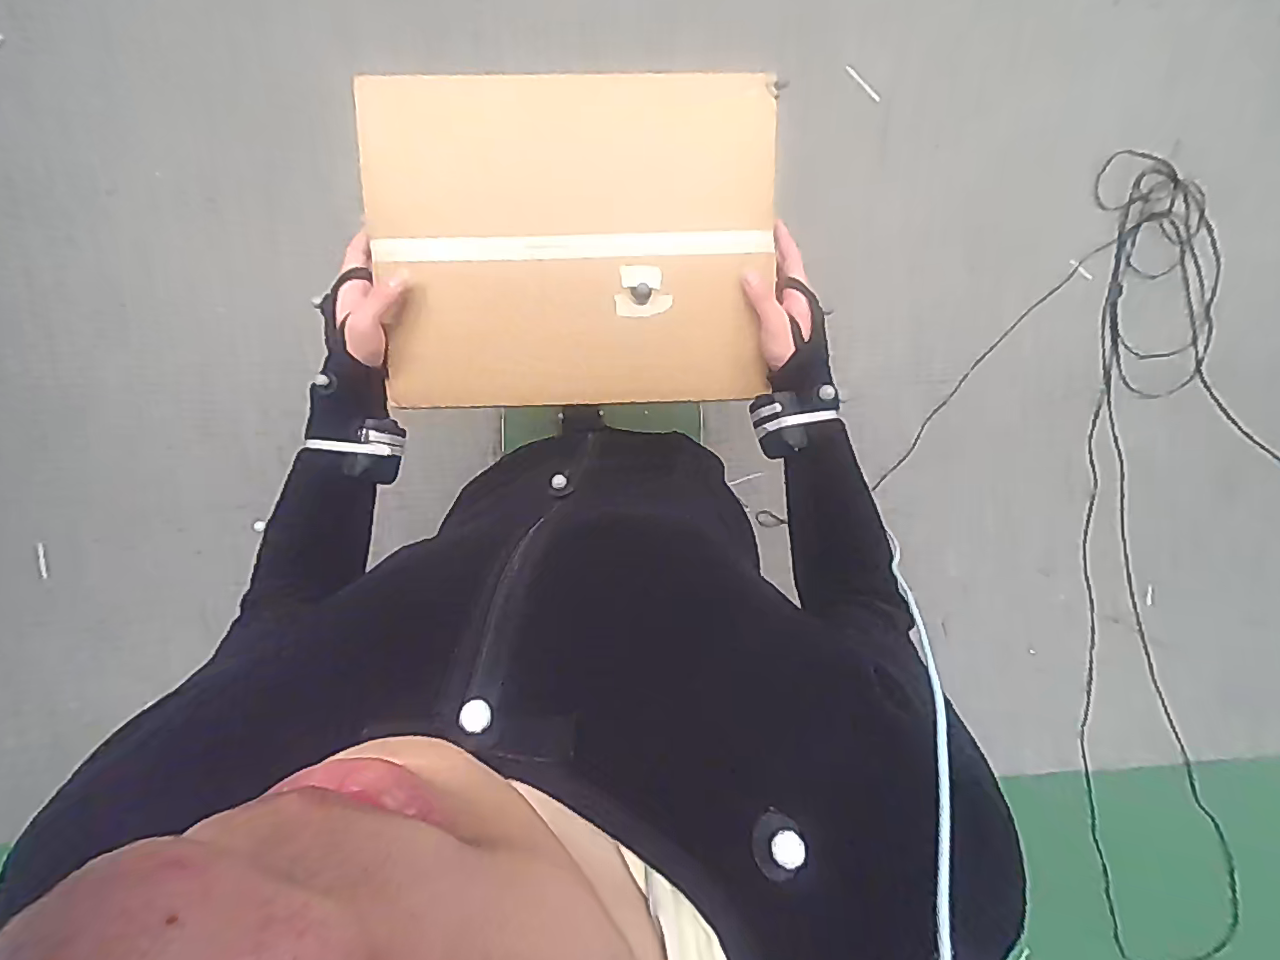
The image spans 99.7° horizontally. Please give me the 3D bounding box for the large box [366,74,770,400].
[{"bbox_3d":[-0.072,-0.269,0.700,0.408,0.320,0.320,-2,100,-3],"label":"large box"}]
